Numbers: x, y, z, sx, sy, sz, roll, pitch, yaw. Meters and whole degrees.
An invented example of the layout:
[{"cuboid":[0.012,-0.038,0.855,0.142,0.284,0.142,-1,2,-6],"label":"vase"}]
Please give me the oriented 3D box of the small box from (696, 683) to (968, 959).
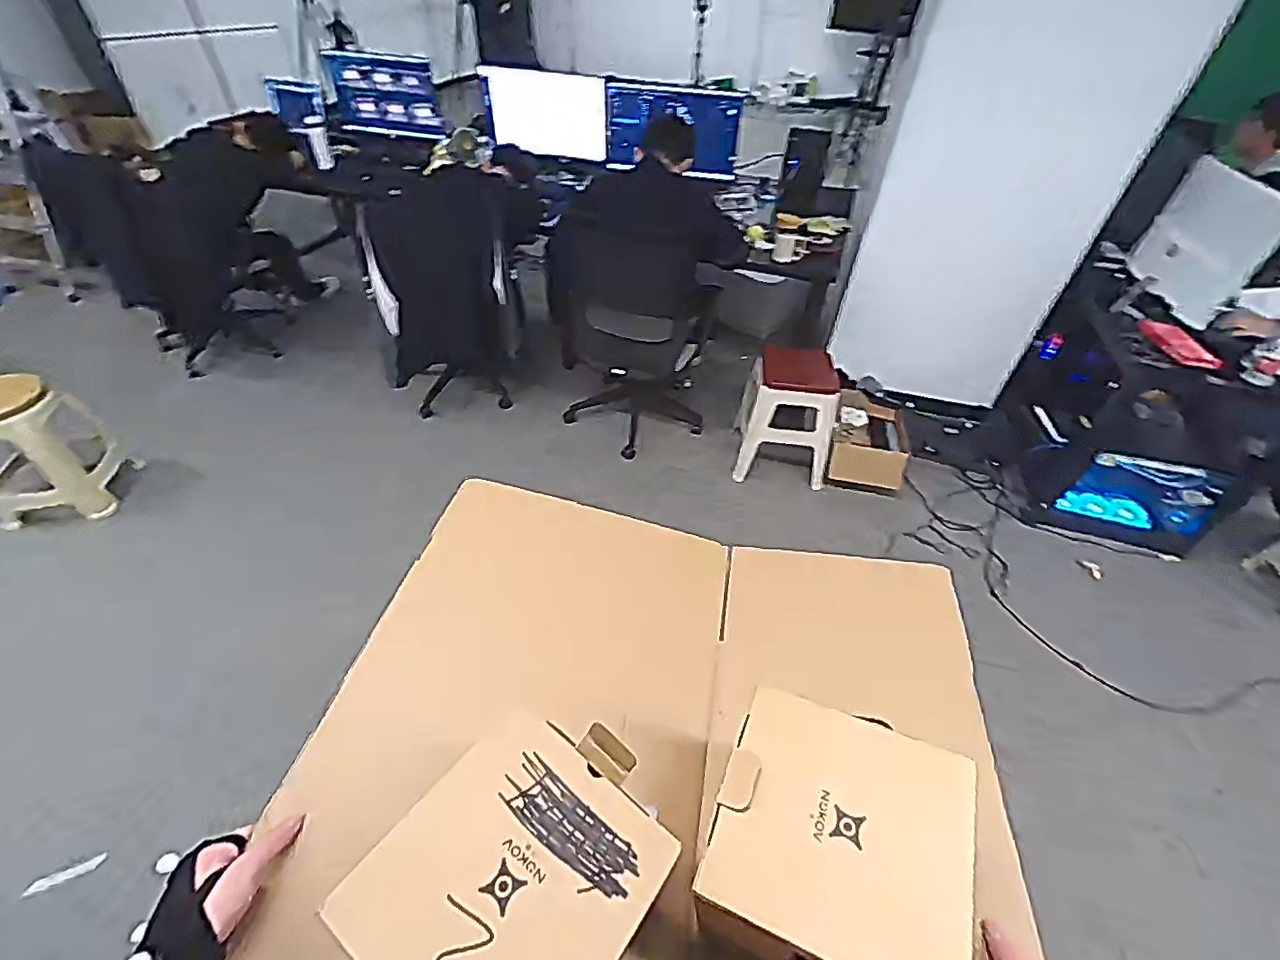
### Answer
[{"cuboid":[0.160,0.312,0.469,0.179,0.176,0.168,12,48,21],"label":"small box"}]
